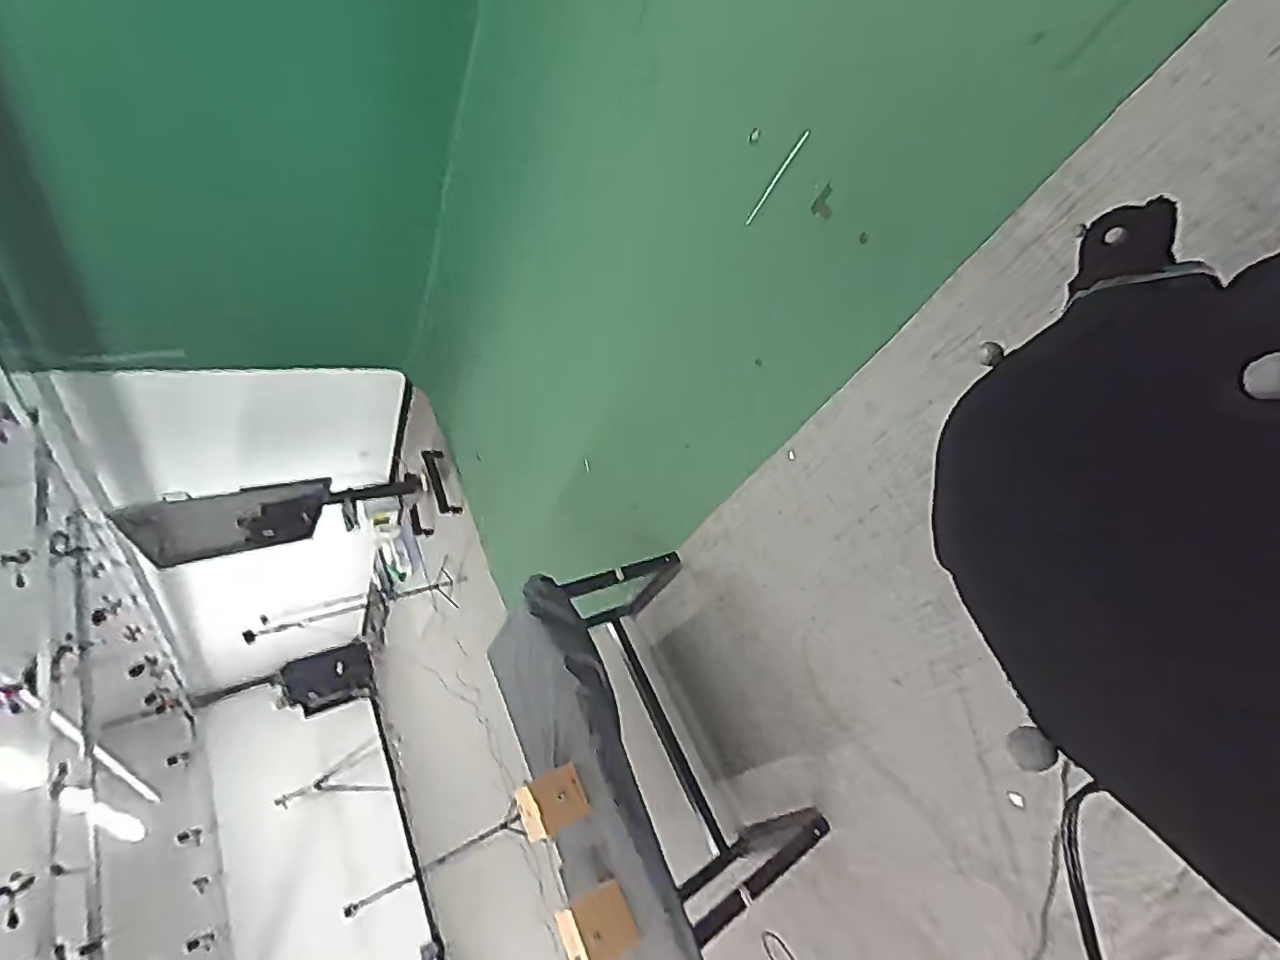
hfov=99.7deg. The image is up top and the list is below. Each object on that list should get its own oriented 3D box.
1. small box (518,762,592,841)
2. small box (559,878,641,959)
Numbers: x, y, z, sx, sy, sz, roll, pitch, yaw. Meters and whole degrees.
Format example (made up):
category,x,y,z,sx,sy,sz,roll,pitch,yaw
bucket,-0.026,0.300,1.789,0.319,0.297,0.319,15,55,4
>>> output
category,x,y,z,sx,sy,sz,roll,pitch,yaw
small box,-0.282,1.071,1.806,0.168,0.176,0.179,62,139,23
small box,-0.122,1.372,1.662,0.179,0.176,0.168,60,139,27
